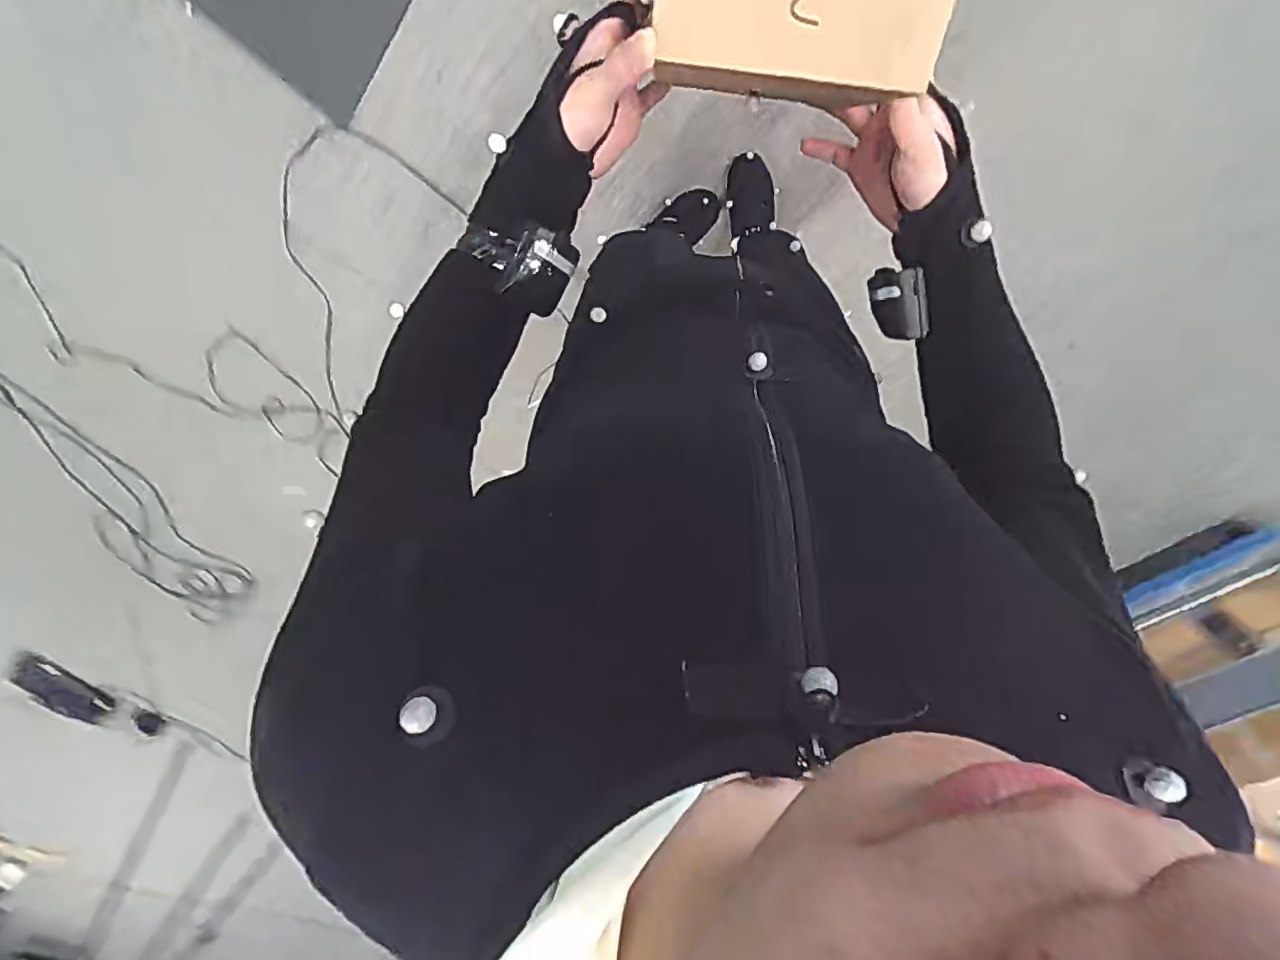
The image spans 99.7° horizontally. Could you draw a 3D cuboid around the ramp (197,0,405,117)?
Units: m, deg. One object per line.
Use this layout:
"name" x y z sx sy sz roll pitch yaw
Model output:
"ramp" -0.924 -1.276 0.989 0.991 0.206 0.509 39 117 -18
